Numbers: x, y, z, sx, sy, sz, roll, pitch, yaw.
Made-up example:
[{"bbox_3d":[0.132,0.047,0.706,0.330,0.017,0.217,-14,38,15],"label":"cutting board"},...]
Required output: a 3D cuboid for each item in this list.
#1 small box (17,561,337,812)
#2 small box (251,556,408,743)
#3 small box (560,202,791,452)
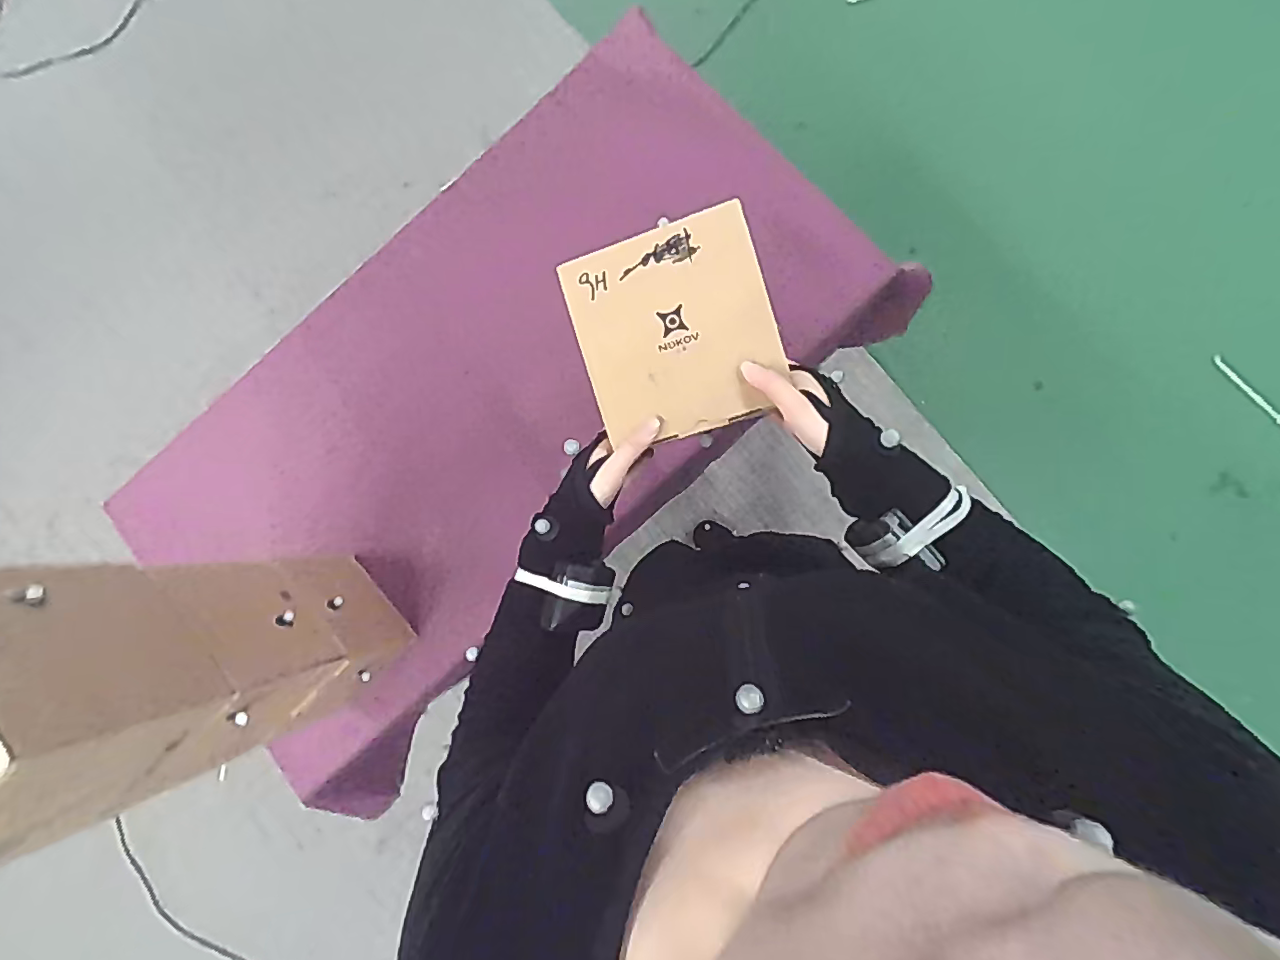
[{"bbox_3d":[-0.489,0.207,0.599,0.179,0.176,0.168,-45,82,-1],"label":"small box"},{"bbox_3d":[-0.468,0.219,0.760,0.168,0.176,0.179,-43,81,0],"label":"small box"},{"bbox_3d":[0.040,-0.136,0.540,0.168,0.176,0.179,-15,94,8],"label":"small box"}]
